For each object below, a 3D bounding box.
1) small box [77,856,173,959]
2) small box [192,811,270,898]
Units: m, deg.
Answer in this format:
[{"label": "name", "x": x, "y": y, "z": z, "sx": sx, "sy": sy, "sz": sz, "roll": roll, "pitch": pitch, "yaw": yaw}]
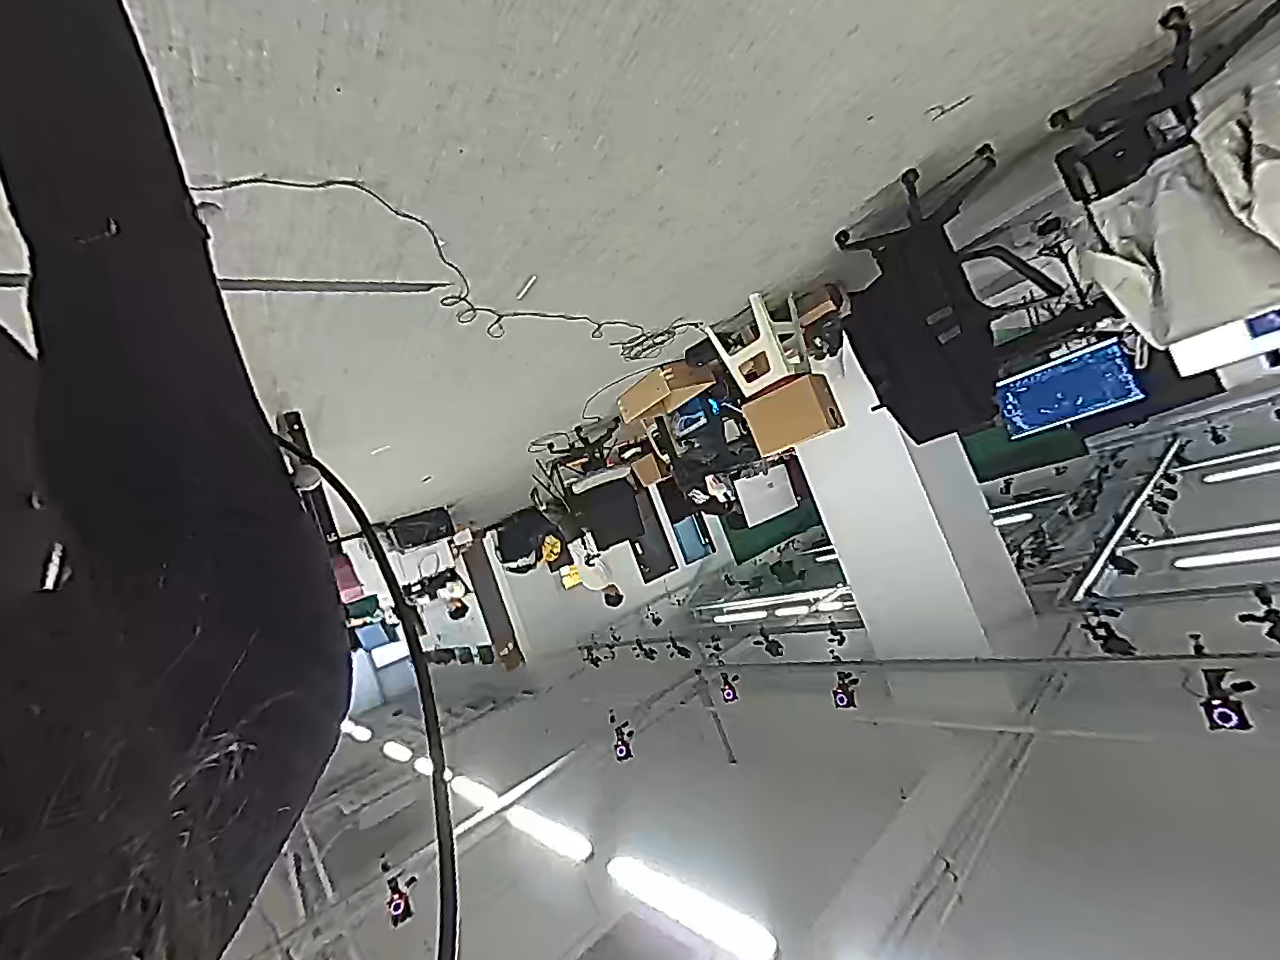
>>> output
[{"label": "small box", "x": -1.605, "y": 1.328, "z": 1.688, "sx": 0.168, "sy": 0.176, "sz": 0.179, "roll": -18, "pitch": 175, "yaw": -34}, {"label": "small box", "x": -1.393, "y": 1.263, "z": 1.847, "sx": 0.179, "sy": 0.176, "sz": 0.168, "roll": -17, "pitch": 173, "yaw": -37}]
